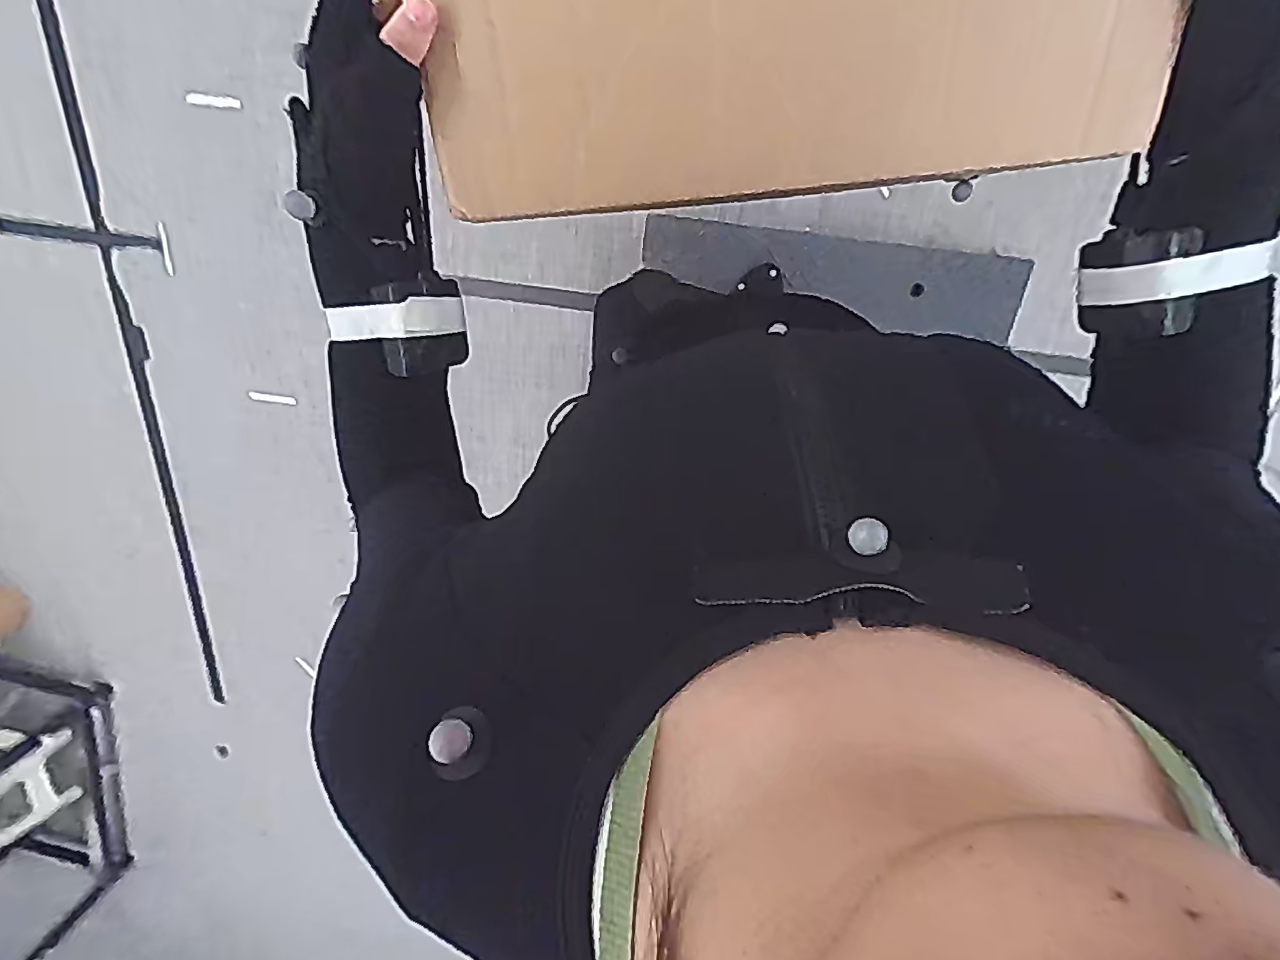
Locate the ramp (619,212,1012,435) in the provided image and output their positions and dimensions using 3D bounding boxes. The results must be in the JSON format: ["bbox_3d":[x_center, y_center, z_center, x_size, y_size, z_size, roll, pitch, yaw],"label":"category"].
[{"bbox_3d":[0.457,-0.385,1.428,0.991,0.206,0.509,6,111,2],"label":"ramp"}]

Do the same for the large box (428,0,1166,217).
[{"bbox_3d":[0.084,-0.385,0.396,0.408,0.320,0.320,-3,116,4],"label":"large box"}]
